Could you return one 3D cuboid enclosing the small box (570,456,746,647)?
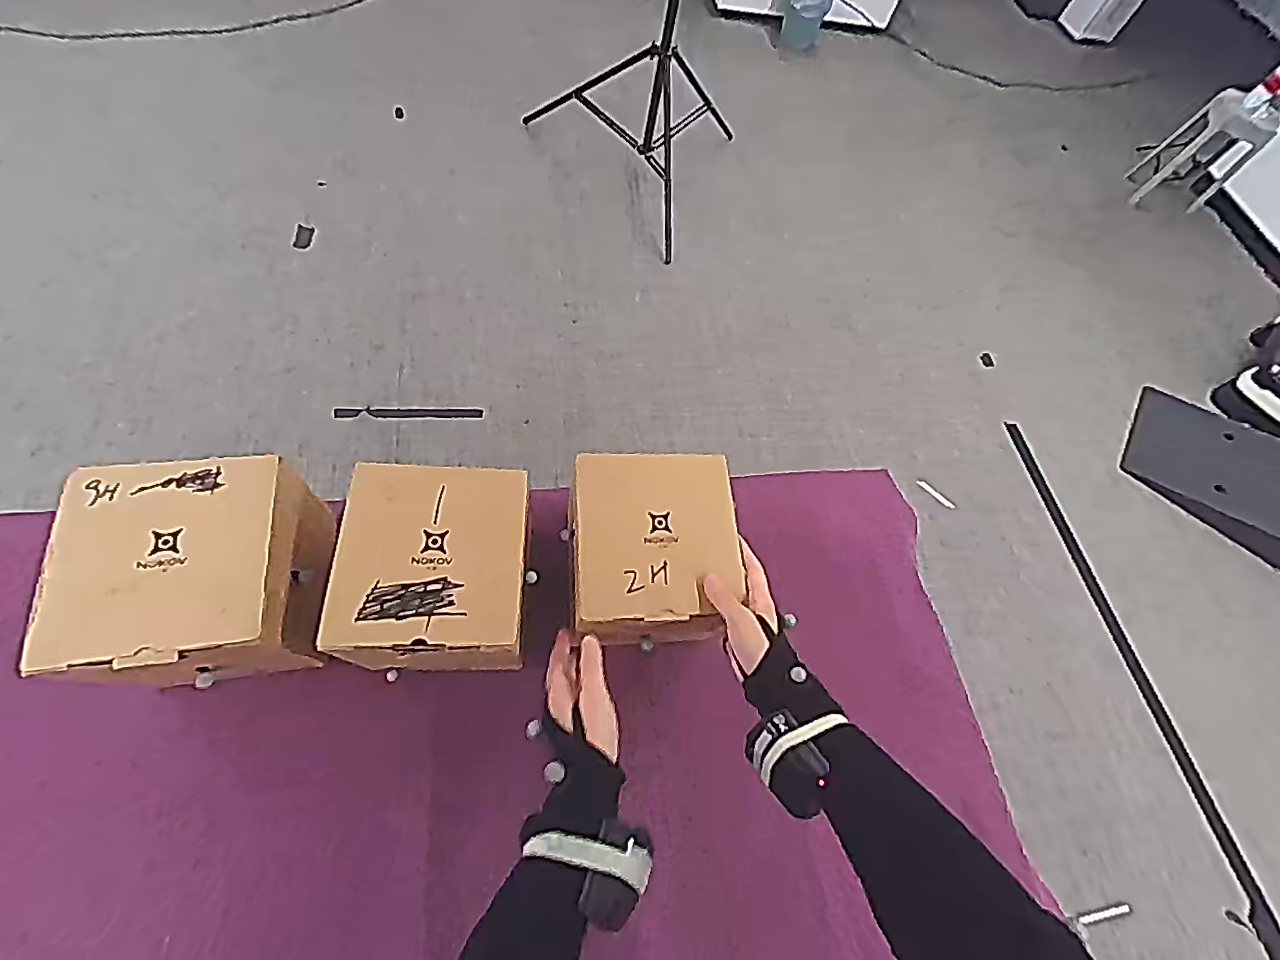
[{"bbox_3d":[0.006,0.087,0.618,0.168,0.176,0.179,0,66,-9],"label":"small box"}]
